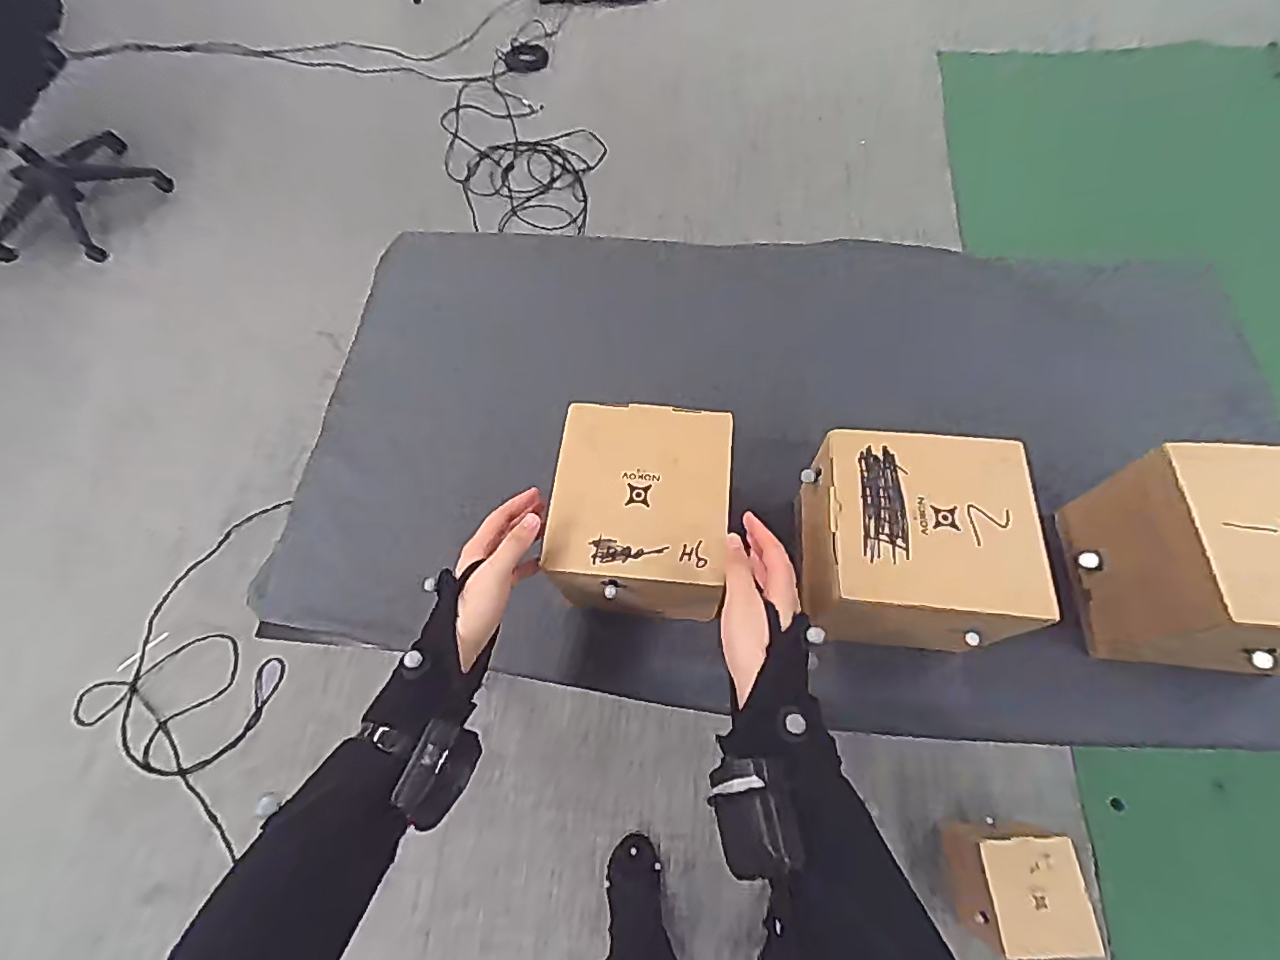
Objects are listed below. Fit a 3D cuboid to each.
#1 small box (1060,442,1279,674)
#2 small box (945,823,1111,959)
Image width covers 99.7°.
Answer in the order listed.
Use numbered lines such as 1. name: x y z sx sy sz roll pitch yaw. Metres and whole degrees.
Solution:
1. small box: 0.550 0.081 0.505 0.179 0.176 0.168 4 63 8
2. small box: 0.703 0.757 1.004 0.168 0.176 0.179 -4 67 3
